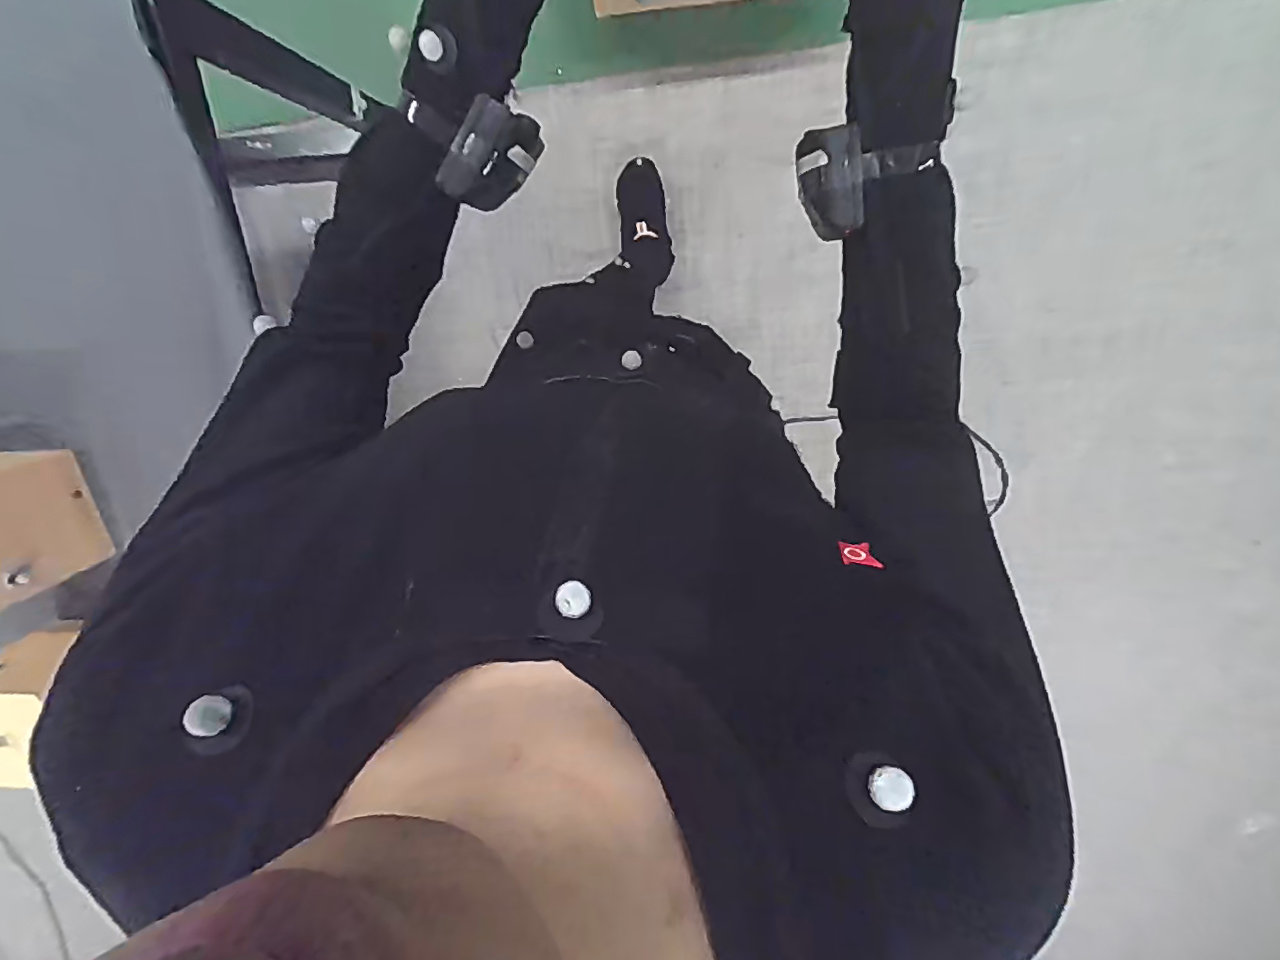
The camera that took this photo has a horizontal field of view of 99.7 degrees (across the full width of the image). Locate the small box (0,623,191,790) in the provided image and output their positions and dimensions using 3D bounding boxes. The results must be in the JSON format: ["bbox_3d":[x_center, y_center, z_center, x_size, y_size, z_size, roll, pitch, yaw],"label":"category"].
[{"bbox_3d":[-0.841,0.329,0.809,0.179,0.176,0.168,-2,110,5],"label":"small box"}]
